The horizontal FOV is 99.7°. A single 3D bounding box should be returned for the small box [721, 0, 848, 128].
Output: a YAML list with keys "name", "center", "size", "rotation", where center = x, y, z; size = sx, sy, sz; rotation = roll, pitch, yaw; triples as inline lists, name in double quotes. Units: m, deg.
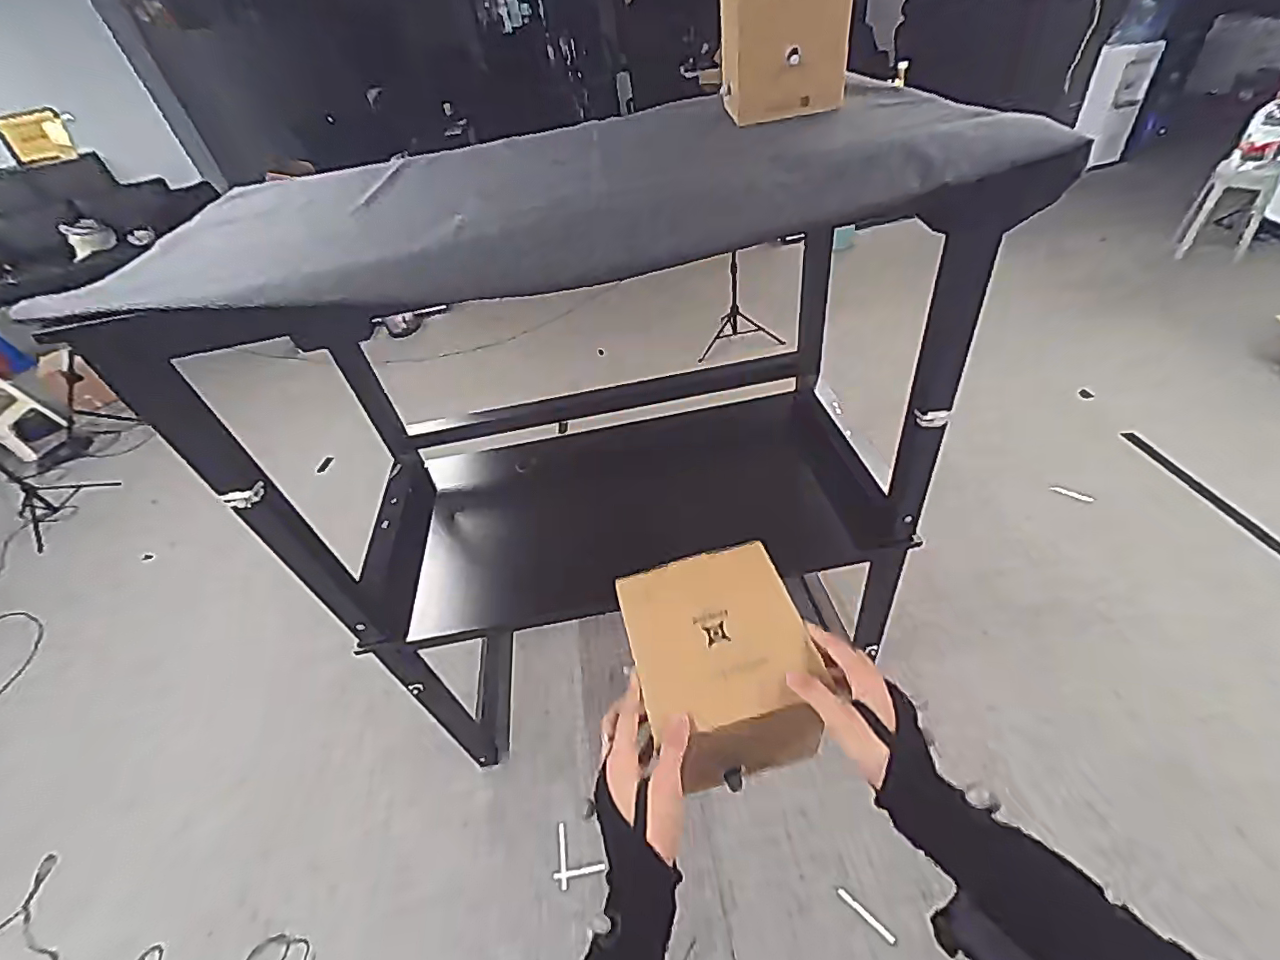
- name: "small box"
  center: [0.227, -0.687, 0.870]
  size: [0.168, 0.176, 0.179]
  rotation: [-7, 44, 4]

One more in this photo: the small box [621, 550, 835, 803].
- name: "small box"
  center: [0.084, 0.209, 0.580]
  size: [0.168, 0.176, 0.179]
  rotation: [-15, 43, -4]
